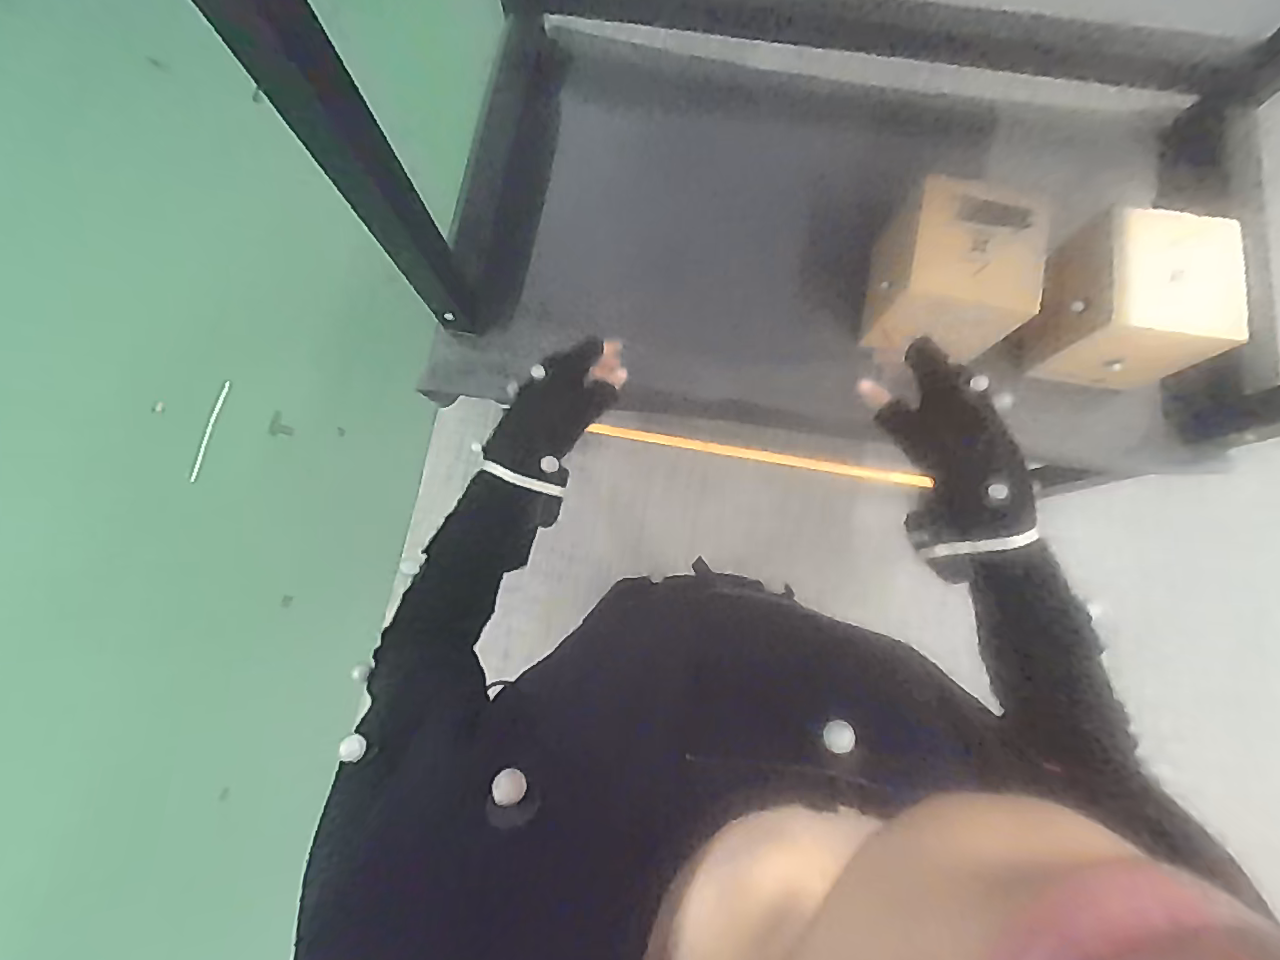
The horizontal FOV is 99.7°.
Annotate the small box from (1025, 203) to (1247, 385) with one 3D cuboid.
[{"bbox_3d":[0.682,-0.251,0.765,0.168,0.176,0.179,9,78,2],"label":"small box"}]
